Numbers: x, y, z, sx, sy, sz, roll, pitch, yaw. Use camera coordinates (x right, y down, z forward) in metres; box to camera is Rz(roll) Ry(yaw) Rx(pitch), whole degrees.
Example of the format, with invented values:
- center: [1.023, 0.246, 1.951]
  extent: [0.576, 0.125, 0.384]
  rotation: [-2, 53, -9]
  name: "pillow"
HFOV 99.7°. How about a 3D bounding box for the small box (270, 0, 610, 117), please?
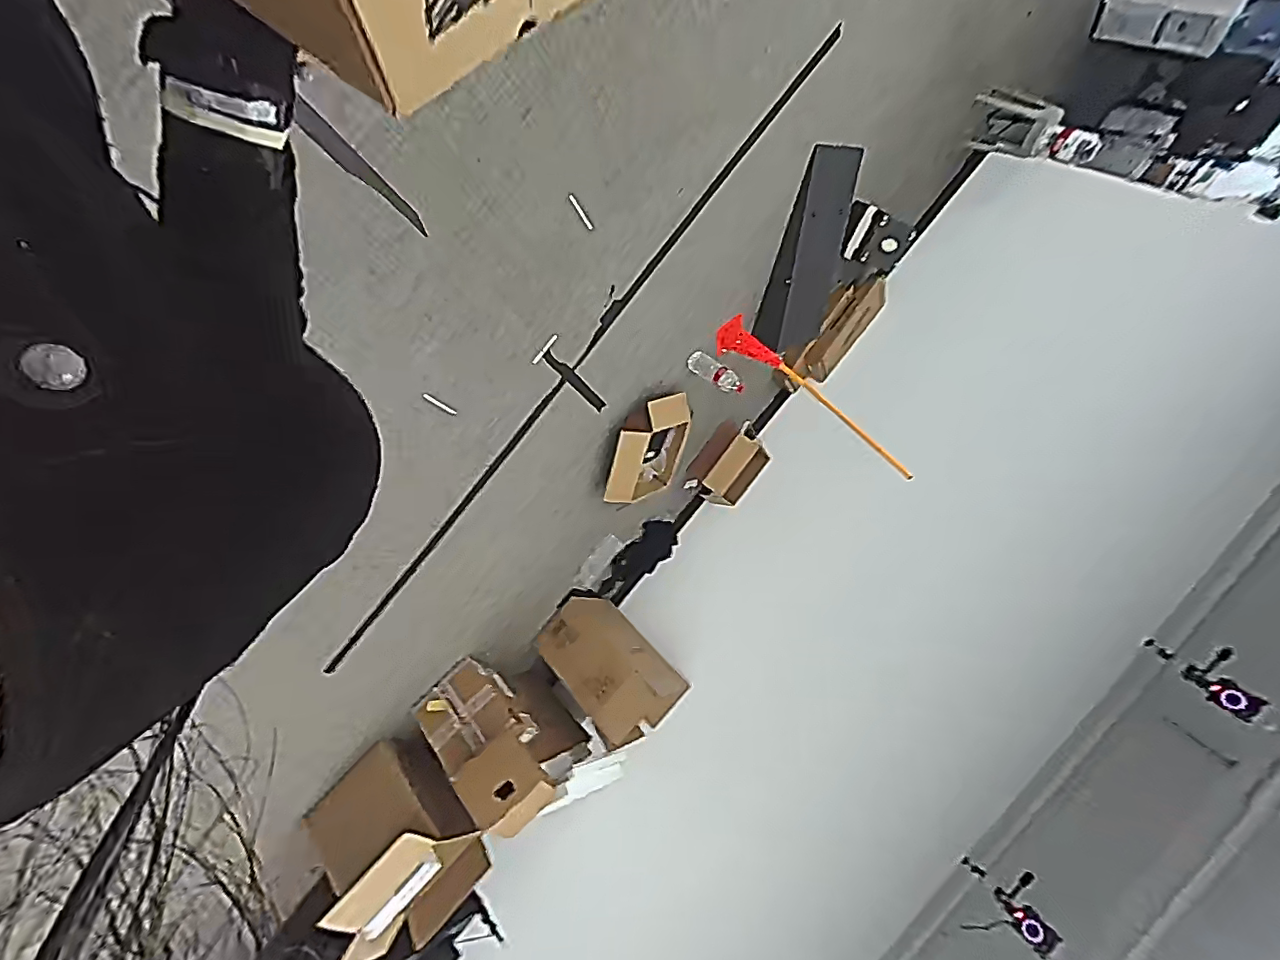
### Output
- center: [-0.110, -0.306, 0.218]
  extent: [0.168, 0.176, 0.179]
  rotation: [-46, 164, -15]
  name: "small box"
